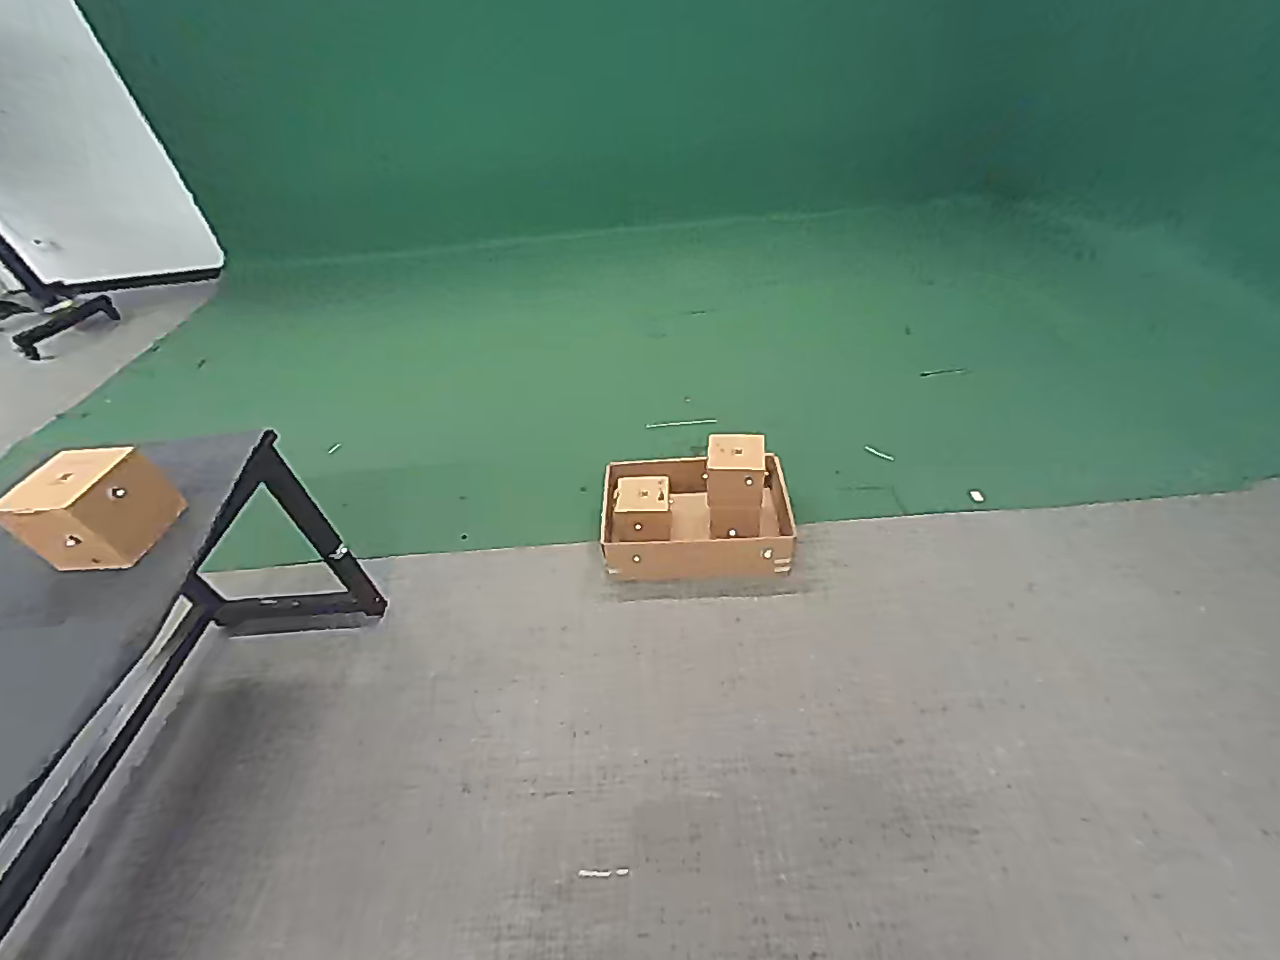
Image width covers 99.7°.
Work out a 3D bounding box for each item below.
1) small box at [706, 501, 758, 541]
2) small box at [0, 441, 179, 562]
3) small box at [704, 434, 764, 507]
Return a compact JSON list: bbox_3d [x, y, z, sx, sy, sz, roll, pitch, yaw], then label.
[{"bbox_3d":[0.313,0.086,1.846,0.168,0.176,0.179,1,46,9],"label":"small box"},{"bbox_3d":[-1.066,0.045,1.050,0.168,0.176,0.179,-2,42,5],"label":"small box"},{"bbox_3d":[0.299,-0.029,1.729,0.179,0.176,0.168,2,44,10],"label":"small box"}]
